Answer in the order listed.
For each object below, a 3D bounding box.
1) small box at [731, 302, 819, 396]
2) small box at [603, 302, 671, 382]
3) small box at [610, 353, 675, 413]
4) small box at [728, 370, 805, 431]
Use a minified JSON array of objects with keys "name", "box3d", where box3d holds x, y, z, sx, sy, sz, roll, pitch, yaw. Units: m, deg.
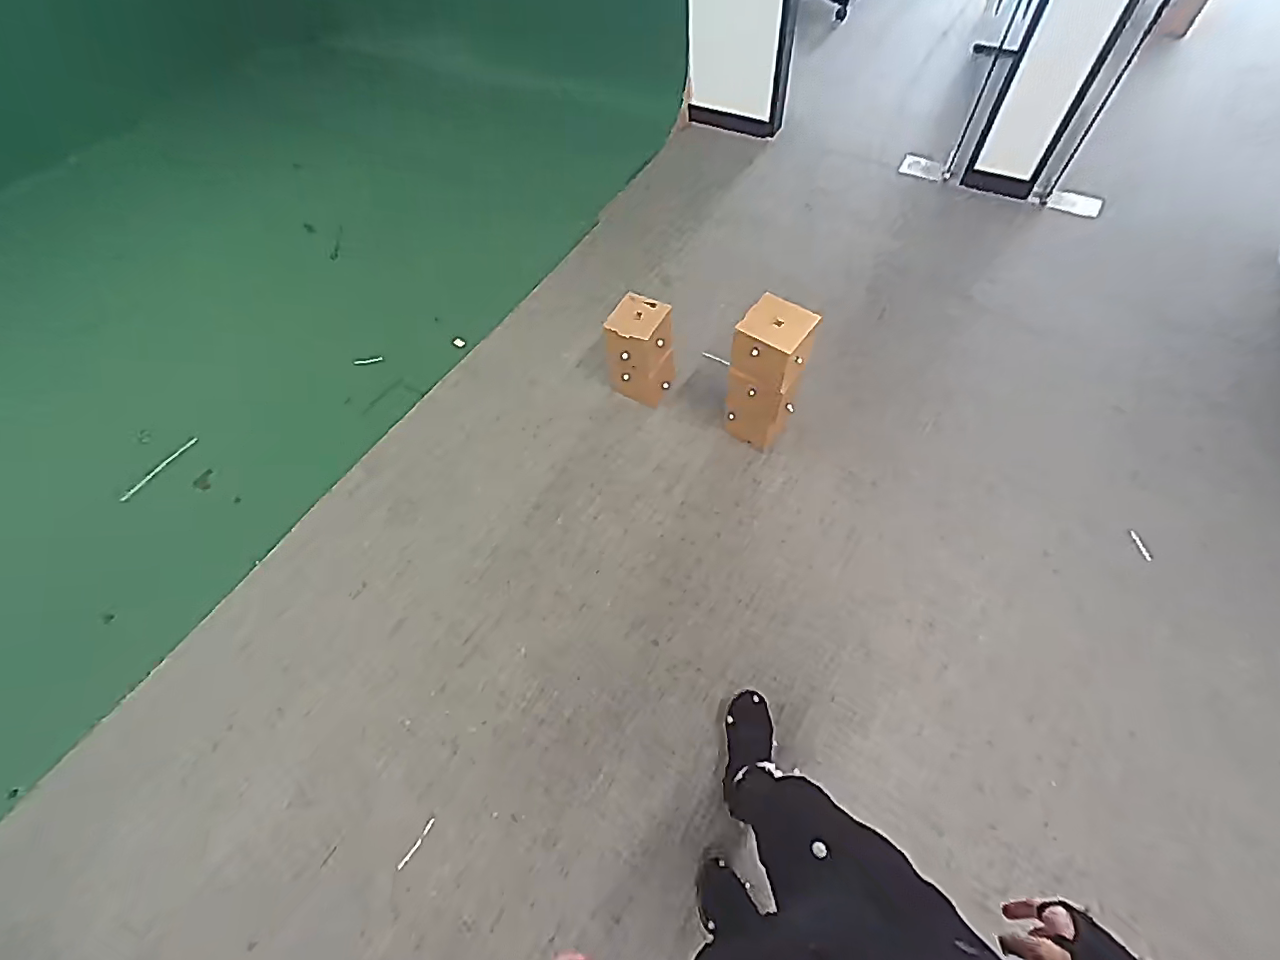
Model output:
[{"name":"small box","box3d":[0.377,-0.364,1.538,0.179,0.176,0.168,32,68,22]},{"name":"small box","box3d":[-0.003,-0.459,1.819,0.168,0.176,0.179,24,65,18]},{"name":"small box","box3d":[0.013,-0.373,1.958,0.179,0.176,0.168,26,65,18]},{"name":"small box","box3d":[0.386,-0.281,1.676,0.179,0.176,0.168,28,66,19]}]
